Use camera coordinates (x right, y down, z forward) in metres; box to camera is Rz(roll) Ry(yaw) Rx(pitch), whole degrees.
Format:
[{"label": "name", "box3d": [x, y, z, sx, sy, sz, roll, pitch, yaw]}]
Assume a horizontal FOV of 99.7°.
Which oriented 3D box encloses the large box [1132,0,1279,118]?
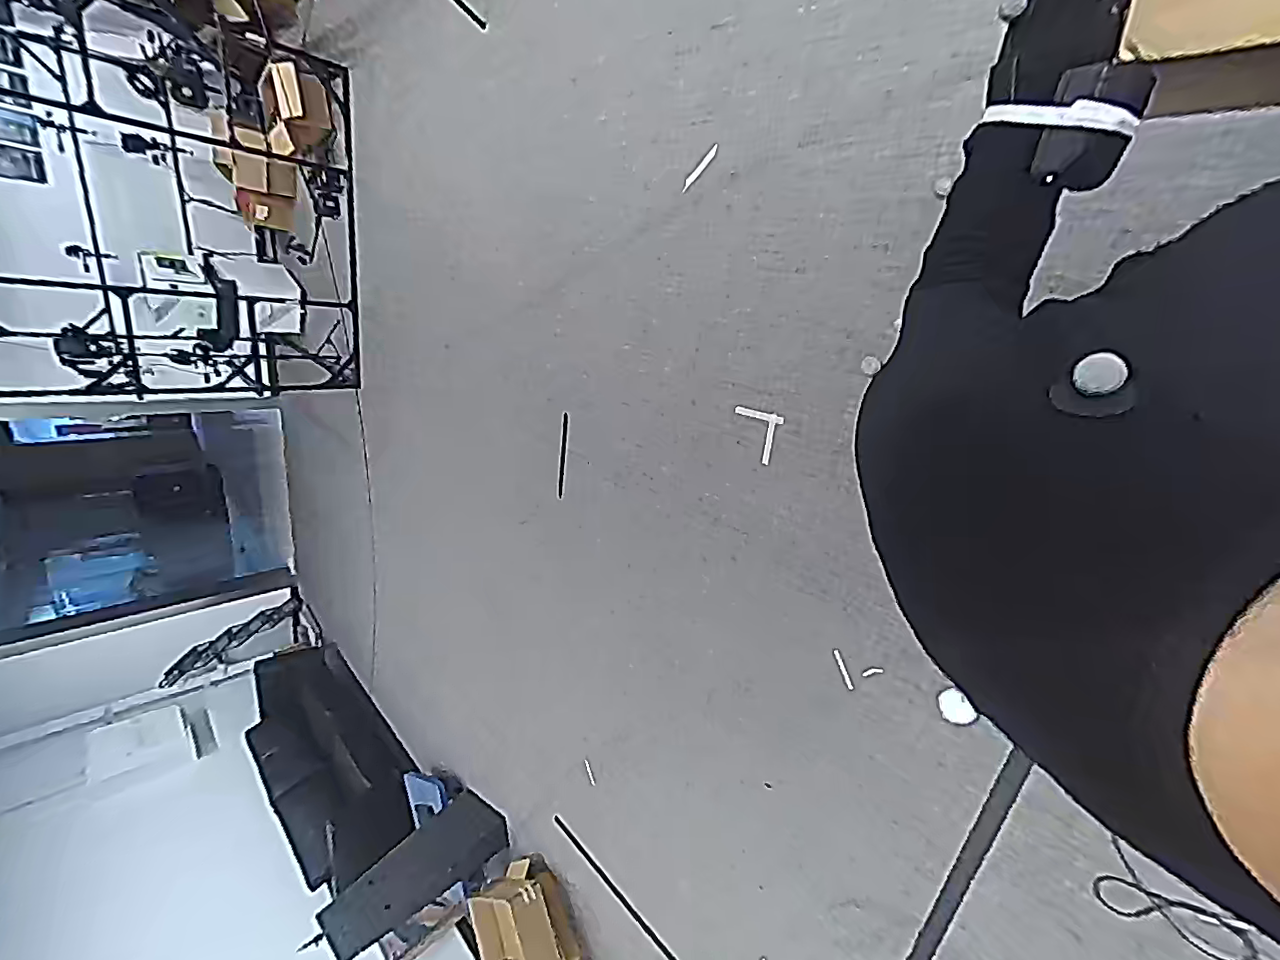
[{"label": "large box", "box3d": [0.554, -0.410, 0.269, 0.408, 0.320, 0.320, 18, 123, 37]}]
